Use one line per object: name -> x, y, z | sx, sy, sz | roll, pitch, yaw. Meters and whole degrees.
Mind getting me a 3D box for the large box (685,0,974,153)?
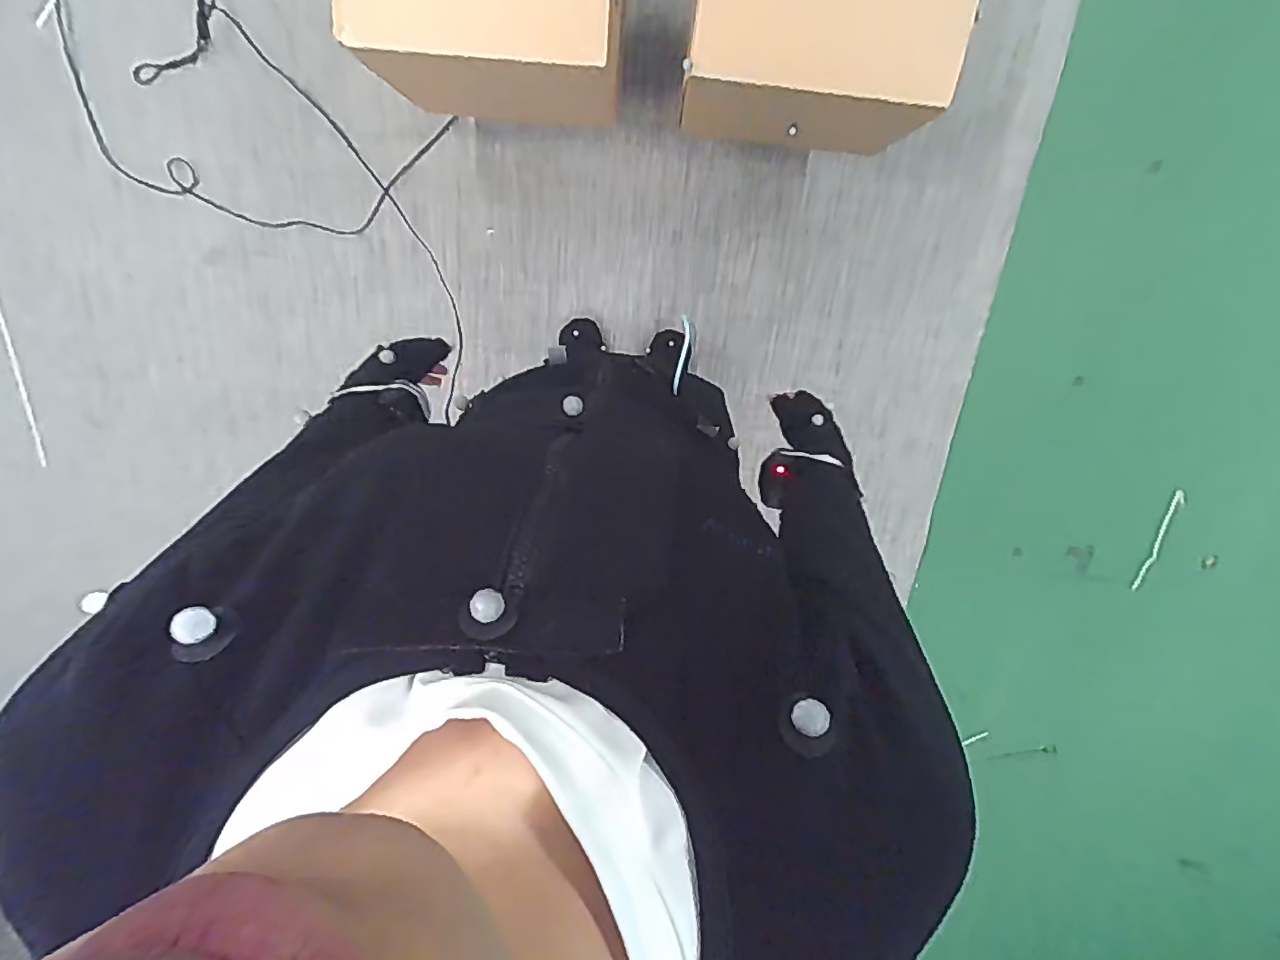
large box -> 0.302, -0.785, 0.928 | 0.408, 0.320, 0.320 | 7, 109, -1
